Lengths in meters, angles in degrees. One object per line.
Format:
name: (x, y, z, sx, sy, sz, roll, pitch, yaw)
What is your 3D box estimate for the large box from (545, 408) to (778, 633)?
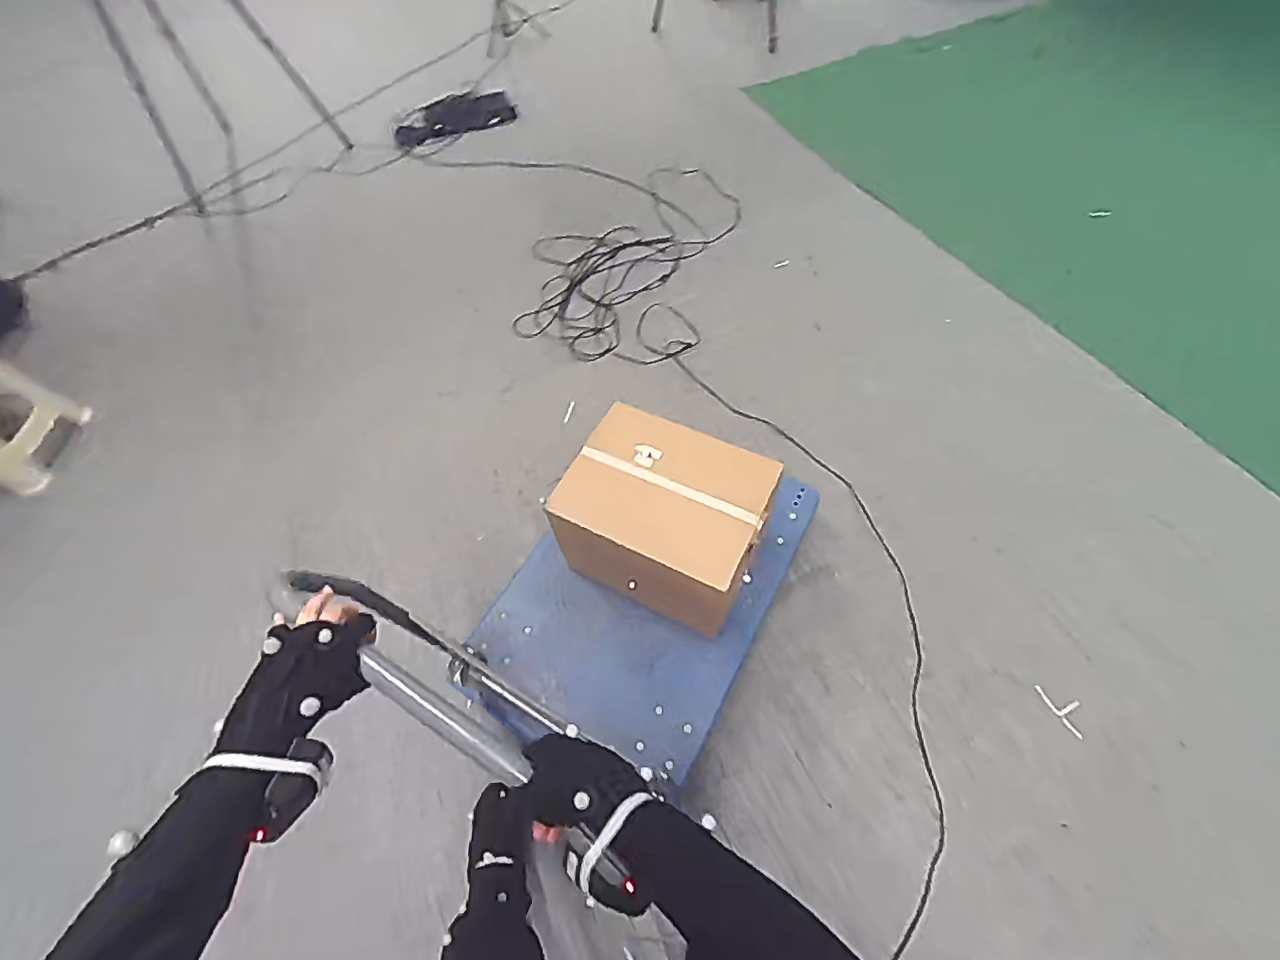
large box: (0.060, 0.096, 1.240, 0.408, 0.320, 0.320, 22, 61, 18)
